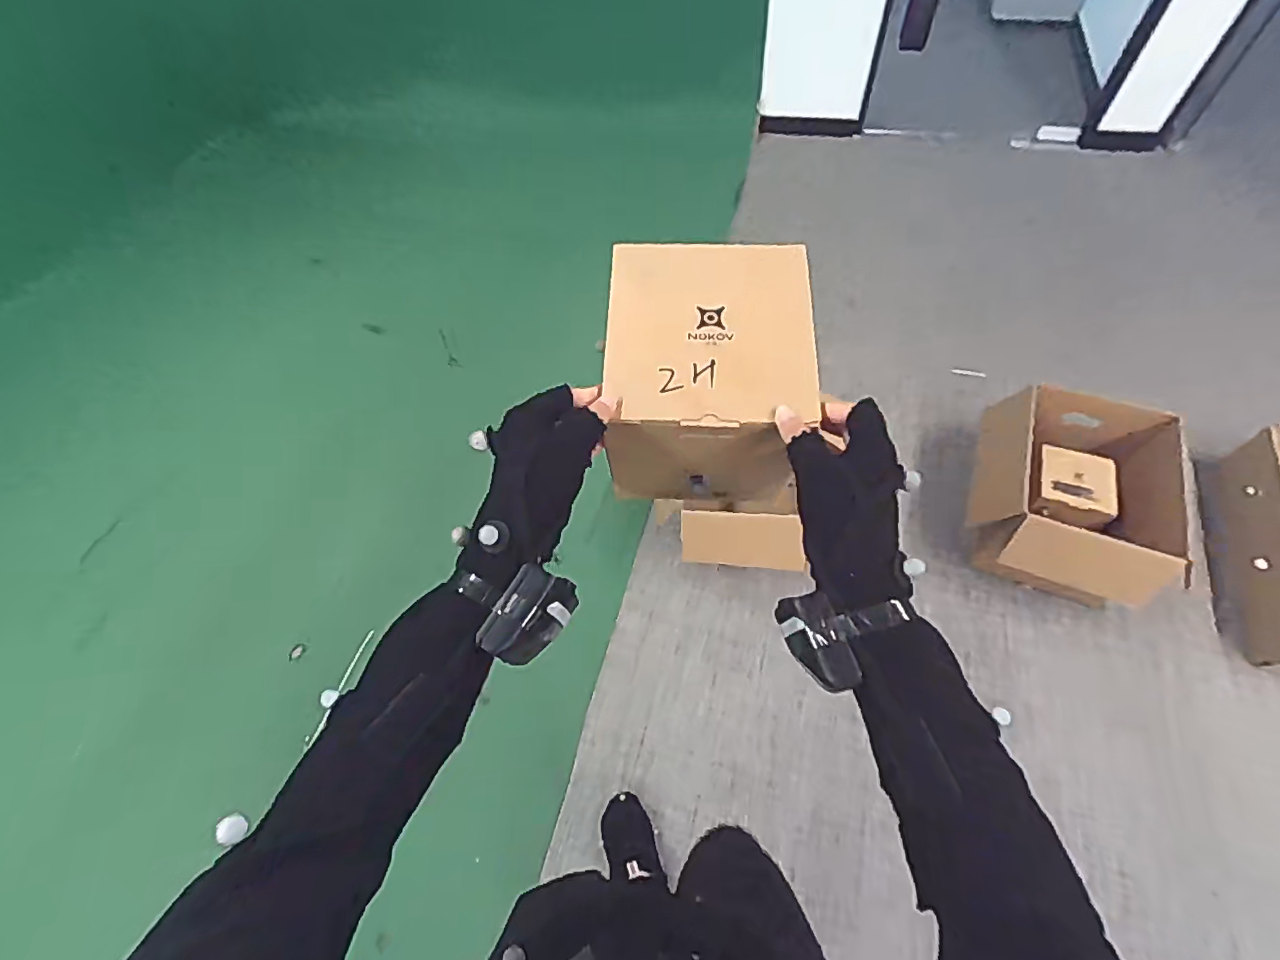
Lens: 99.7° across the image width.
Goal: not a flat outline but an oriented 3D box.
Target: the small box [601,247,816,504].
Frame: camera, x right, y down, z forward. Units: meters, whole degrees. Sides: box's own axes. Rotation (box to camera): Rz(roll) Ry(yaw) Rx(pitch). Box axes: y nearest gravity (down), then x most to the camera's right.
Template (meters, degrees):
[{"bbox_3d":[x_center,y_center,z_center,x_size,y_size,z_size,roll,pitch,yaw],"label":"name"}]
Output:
[{"bbox_3d":[0.059,-0.091,0.512,0.168,0.176,0.179,2,68,4],"label":"small box"}]
